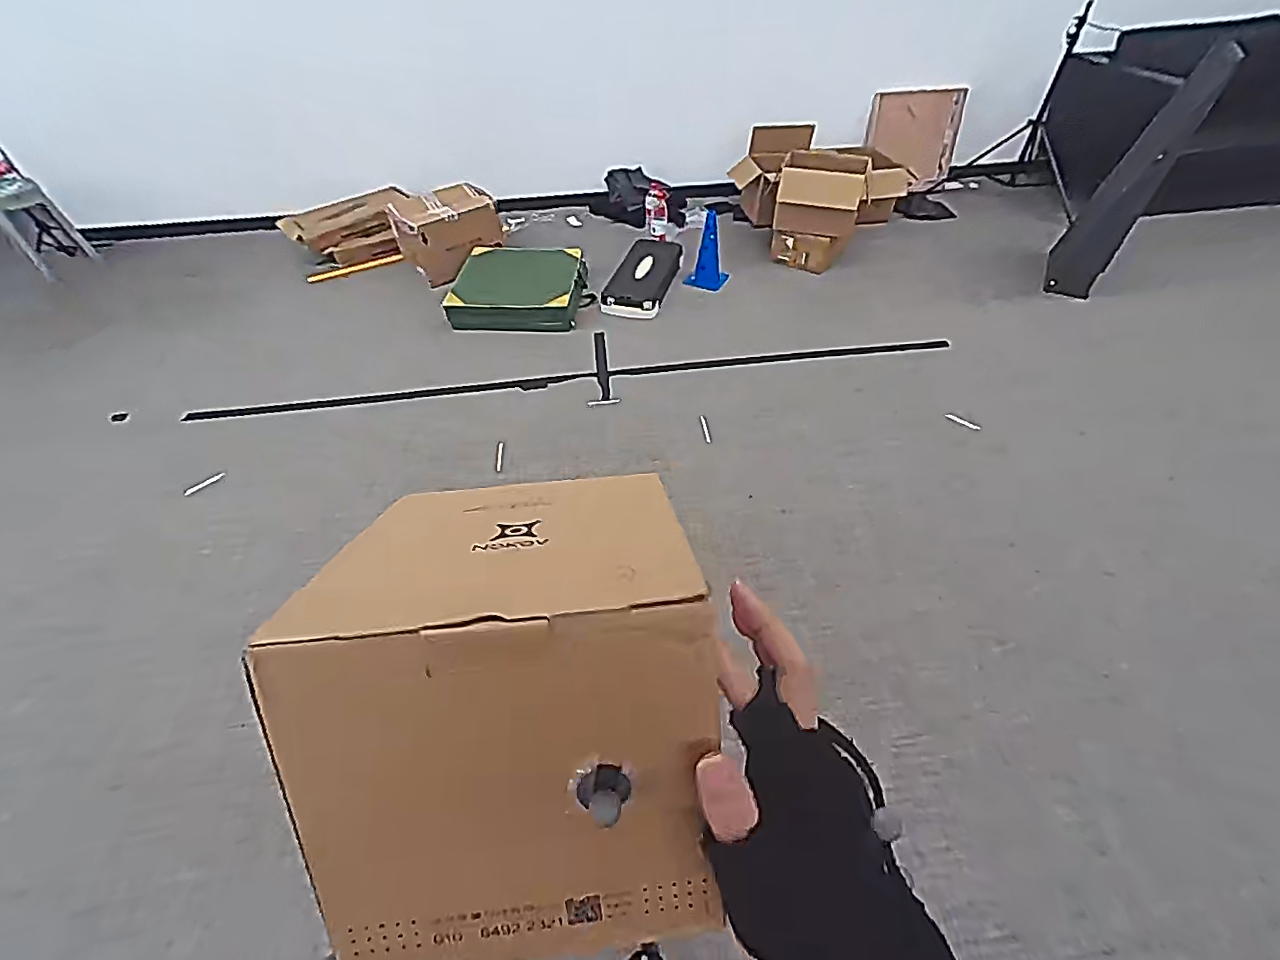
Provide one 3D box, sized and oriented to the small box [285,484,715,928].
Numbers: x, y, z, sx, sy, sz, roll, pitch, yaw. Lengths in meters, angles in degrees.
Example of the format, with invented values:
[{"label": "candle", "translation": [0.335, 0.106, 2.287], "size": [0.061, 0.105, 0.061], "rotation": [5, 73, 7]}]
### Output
[{"label": "small box", "translation": [-0.054, 0.113, 0.311], "size": [0.168, 0.176, 0.179], "rotation": [-5, 15, -2]}]
